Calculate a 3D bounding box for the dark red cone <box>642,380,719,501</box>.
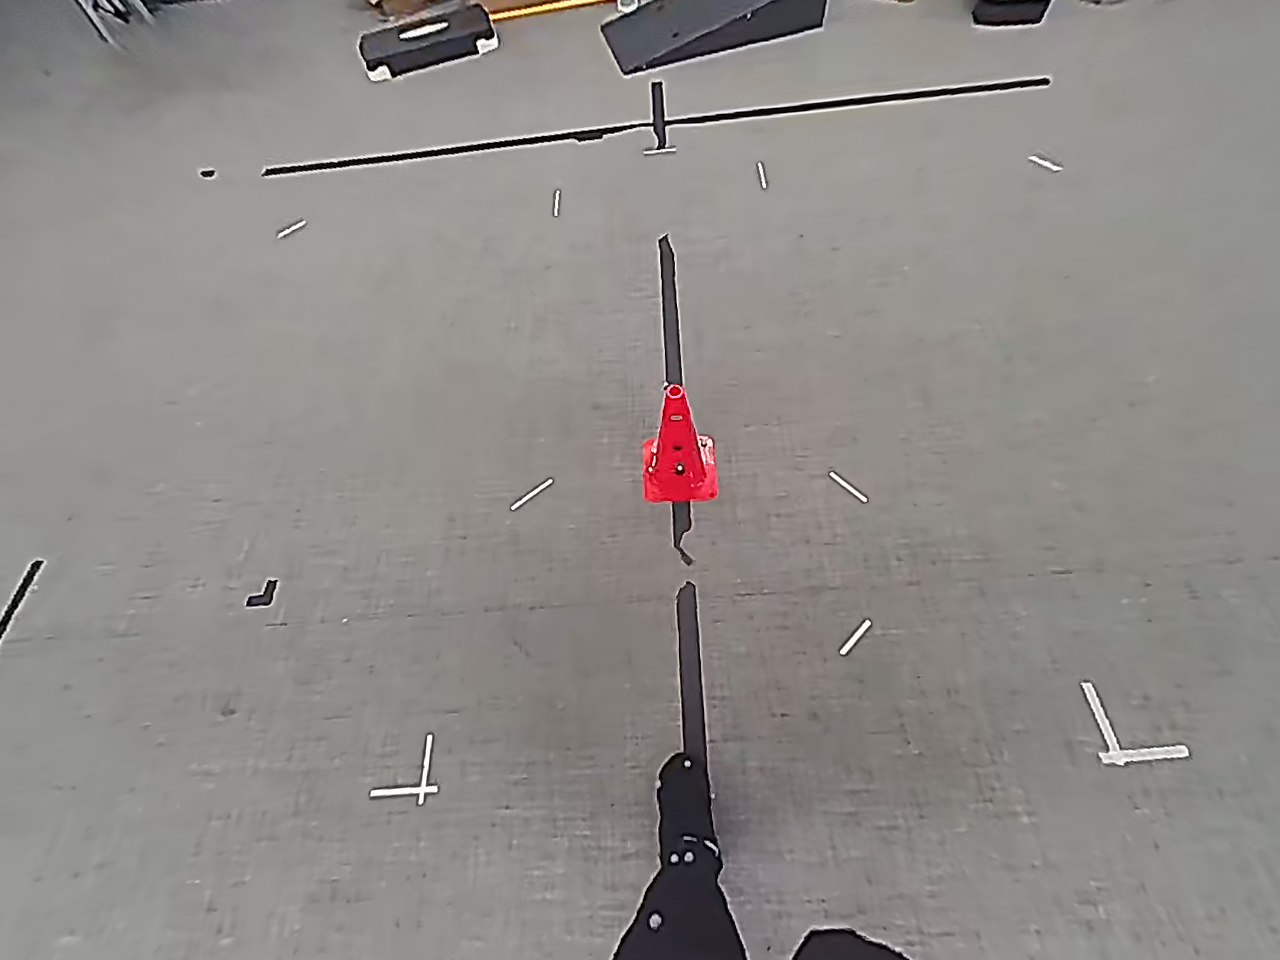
[{"bbox_3d":[0.090,-0.114,1.329,0.201,0.394,0.202,-5,62,4],"label":"dark red cone"}]
